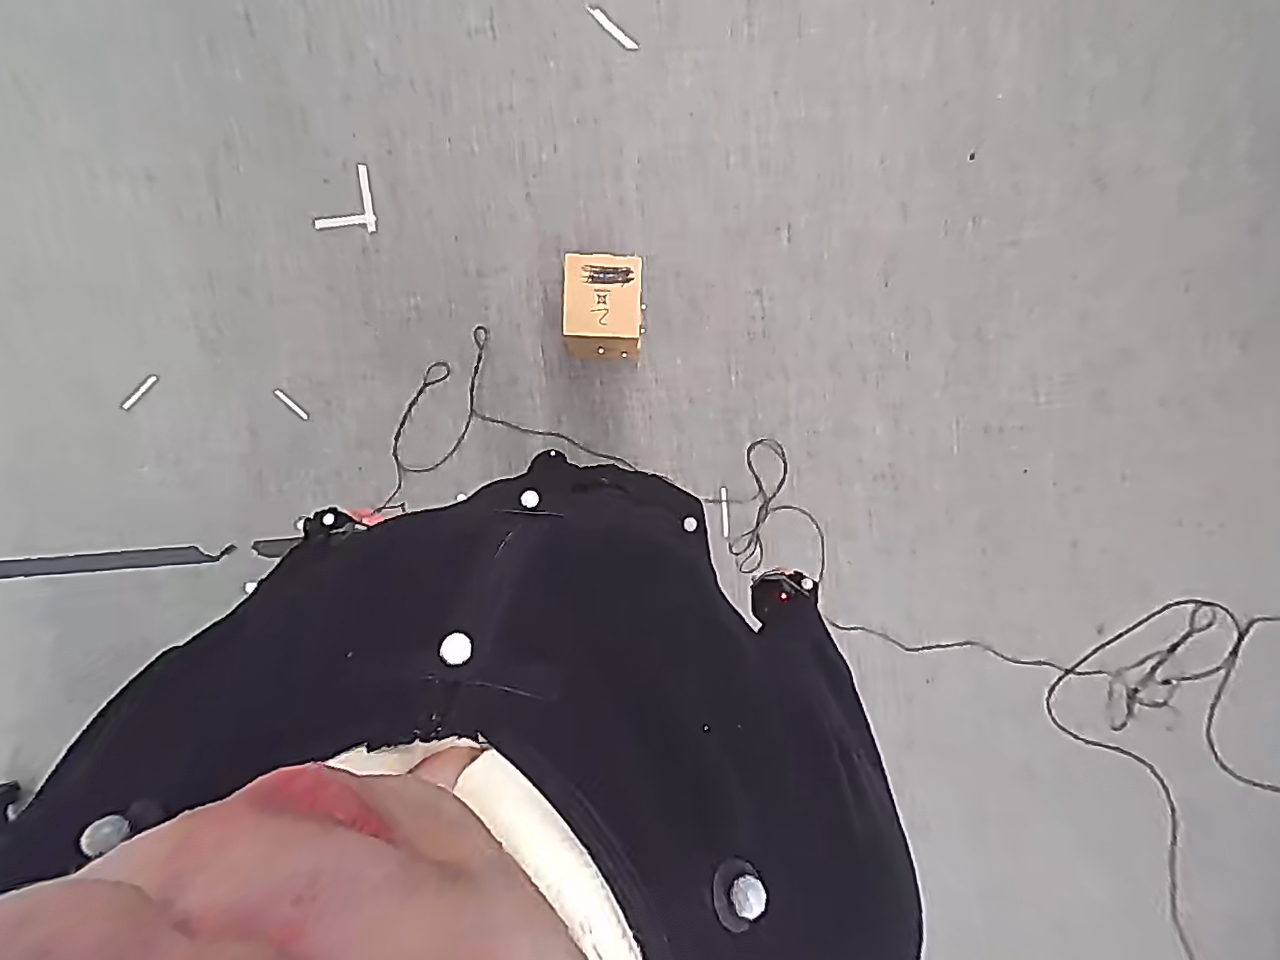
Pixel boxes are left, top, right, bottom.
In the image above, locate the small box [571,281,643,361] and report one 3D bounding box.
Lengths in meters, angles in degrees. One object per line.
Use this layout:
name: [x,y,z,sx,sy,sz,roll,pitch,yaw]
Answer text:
small box: [-0.083,-0.405,1.399,0.179,0.176,0.168,1,93,-2]
